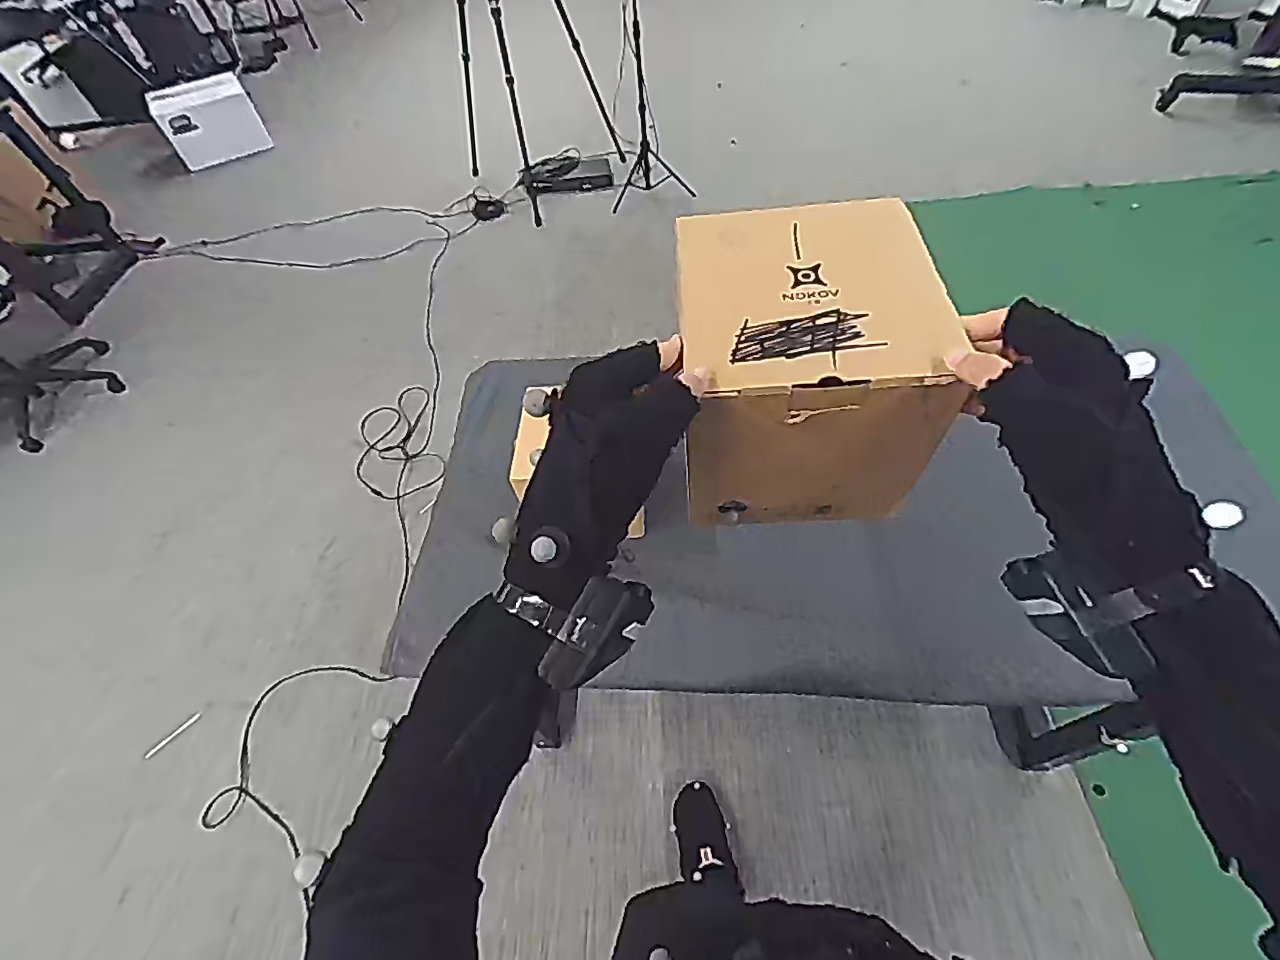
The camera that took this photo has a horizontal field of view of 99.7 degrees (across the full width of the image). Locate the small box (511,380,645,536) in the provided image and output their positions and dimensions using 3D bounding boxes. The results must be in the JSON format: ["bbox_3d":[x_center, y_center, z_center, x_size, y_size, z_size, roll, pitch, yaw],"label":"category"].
[{"bbox_3d":[-0.080,-0.025,0.811,0.168,0.176,0.179,-3,53,4],"label":"small box"}]

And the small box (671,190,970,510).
[{"bbox_3d":[0.112,-0.086,0.416,0.168,0.176,0.179,-3,57,5],"label":"small box"}]
